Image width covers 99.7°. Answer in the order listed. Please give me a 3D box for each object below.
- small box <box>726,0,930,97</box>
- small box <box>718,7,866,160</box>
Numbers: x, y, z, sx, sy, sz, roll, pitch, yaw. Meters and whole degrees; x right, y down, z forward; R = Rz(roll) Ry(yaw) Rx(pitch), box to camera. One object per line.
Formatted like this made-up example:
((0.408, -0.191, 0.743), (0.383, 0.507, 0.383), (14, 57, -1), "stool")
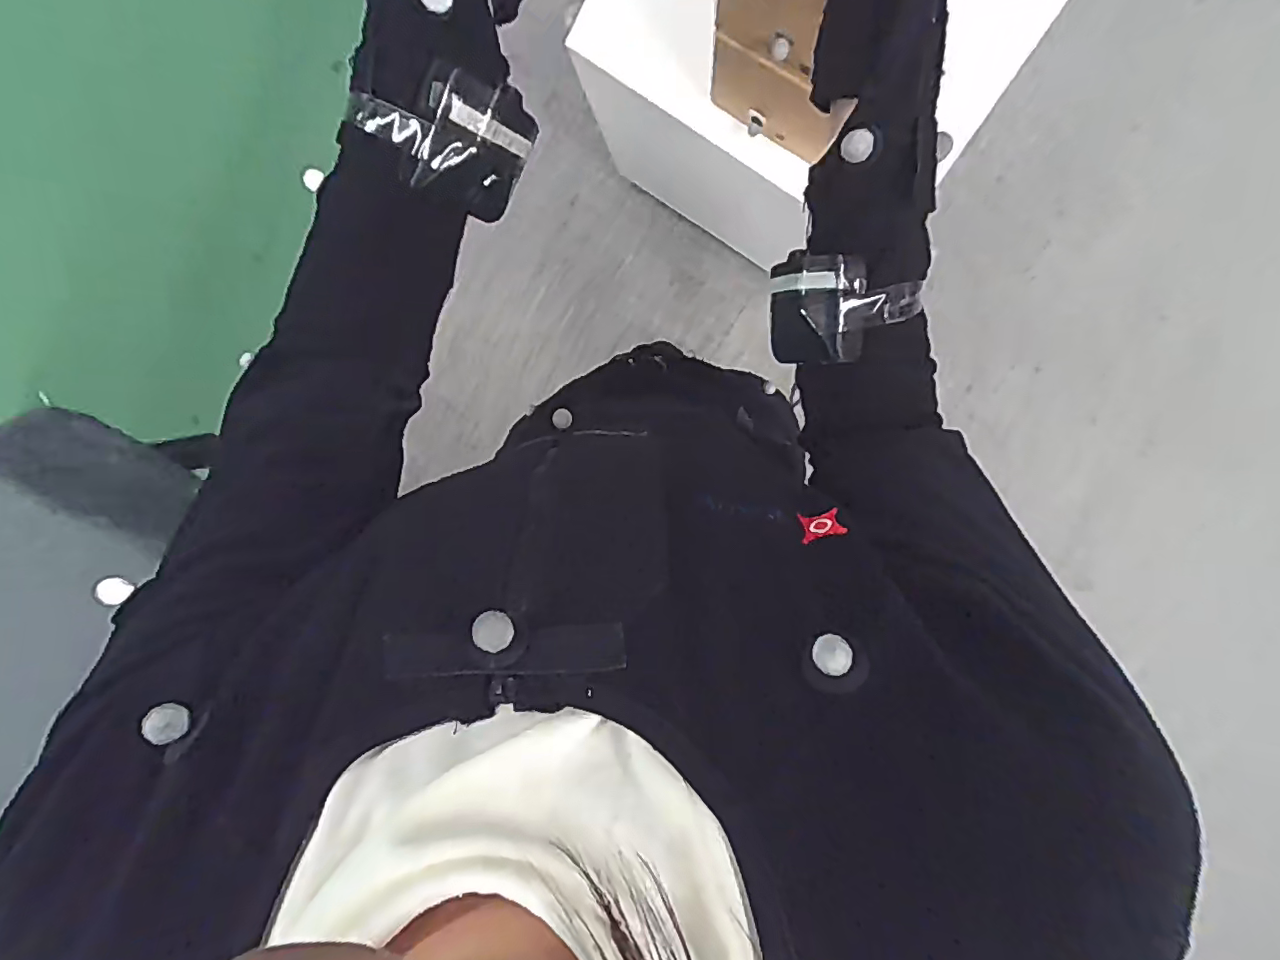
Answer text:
((0.178, -0.467, 0.436), (0.168, 0.176, 0.179), (27, 104, 0), "small box")
((0.195, -0.500, 0.596), (0.168, 0.176, 0.179), (30, 106, 0), "small box")
